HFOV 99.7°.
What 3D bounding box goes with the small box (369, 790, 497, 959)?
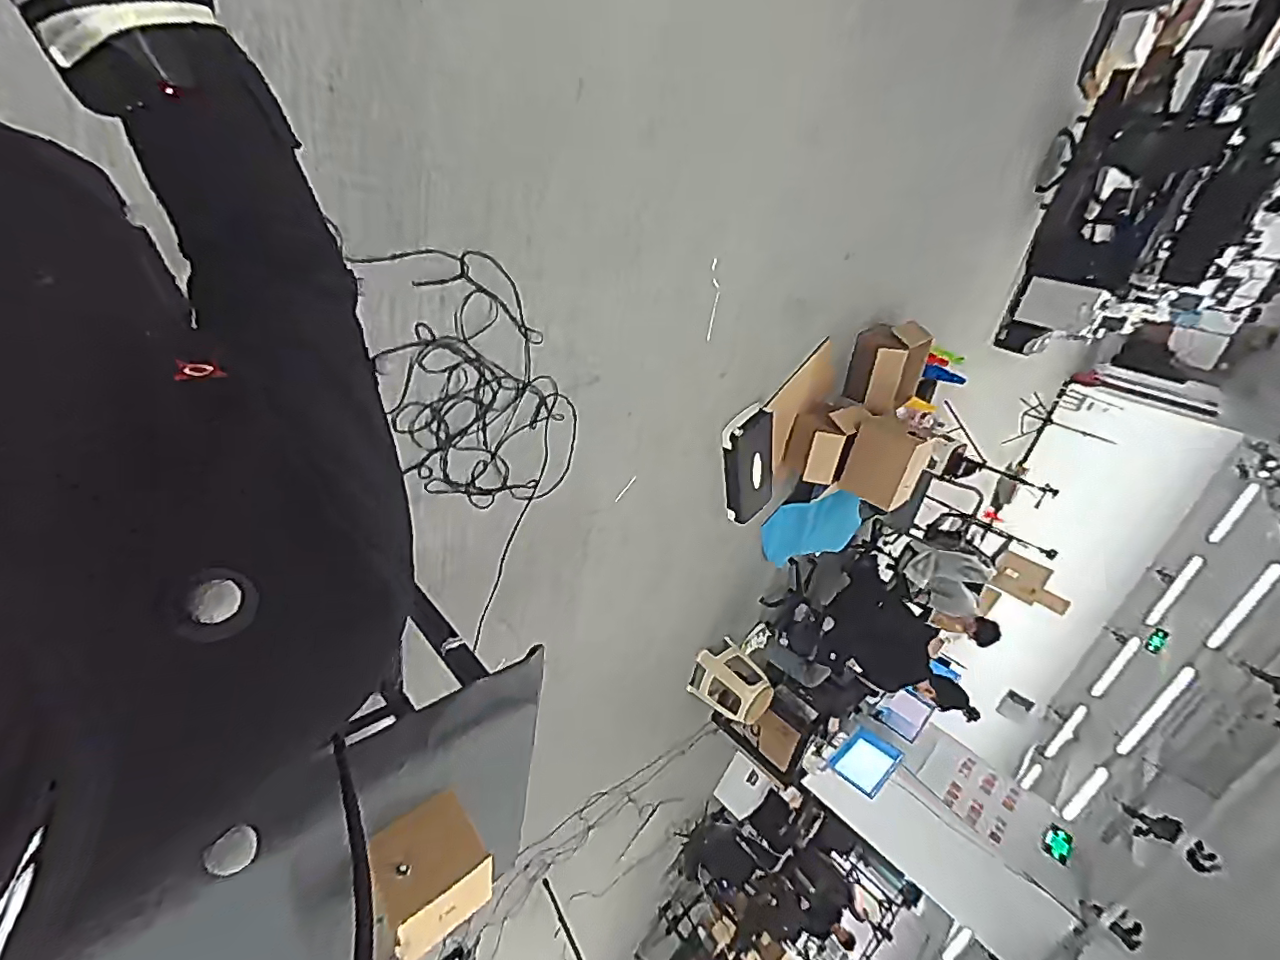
[{"bbox_3d":[-0.389,0.739,1.015,0.179,0.176,0.168,-21,131,-41],"label":"small box"}]
